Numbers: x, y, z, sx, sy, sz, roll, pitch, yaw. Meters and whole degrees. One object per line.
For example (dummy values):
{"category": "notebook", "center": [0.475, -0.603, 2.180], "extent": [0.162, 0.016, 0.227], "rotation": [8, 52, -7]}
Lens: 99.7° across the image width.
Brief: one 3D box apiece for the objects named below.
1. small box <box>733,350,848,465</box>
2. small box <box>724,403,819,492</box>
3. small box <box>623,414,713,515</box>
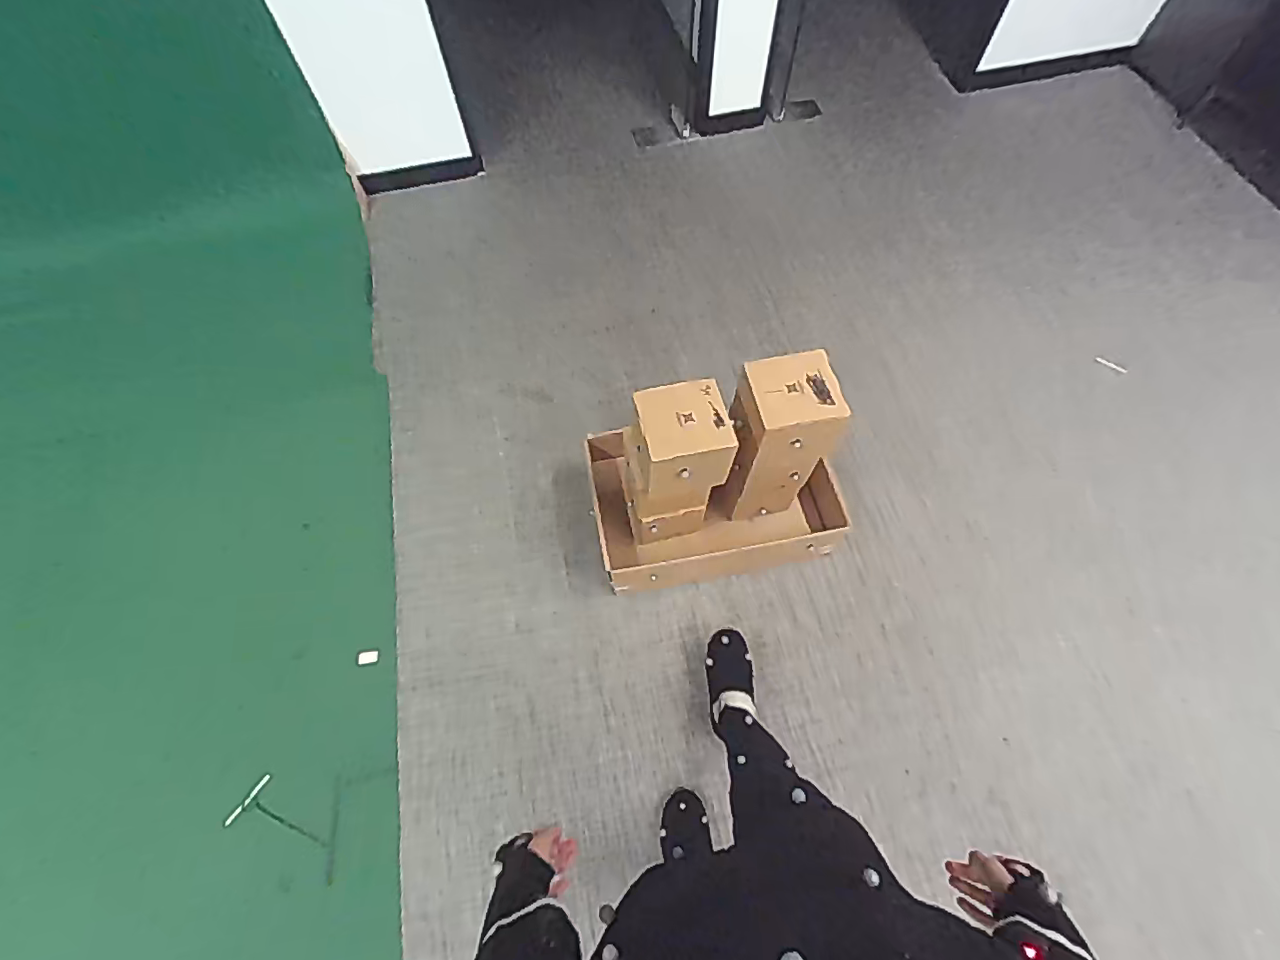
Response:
{"category": "small box", "center": [0.310, -0.150, 1.154], "extent": [0.179, 0.176, 0.168], "rotation": [-10, 65, -3]}
{"category": "small box", "center": [0.309, -0.082, 1.304], "extent": [0.168, 0.176, 0.179], "rotation": [-10, 64, -3]}
{"category": "small box", "center": [0.062, -0.030, 1.286], "extent": [0.179, 0.176, 0.168], "rotation": [-12, 65, -6]}
